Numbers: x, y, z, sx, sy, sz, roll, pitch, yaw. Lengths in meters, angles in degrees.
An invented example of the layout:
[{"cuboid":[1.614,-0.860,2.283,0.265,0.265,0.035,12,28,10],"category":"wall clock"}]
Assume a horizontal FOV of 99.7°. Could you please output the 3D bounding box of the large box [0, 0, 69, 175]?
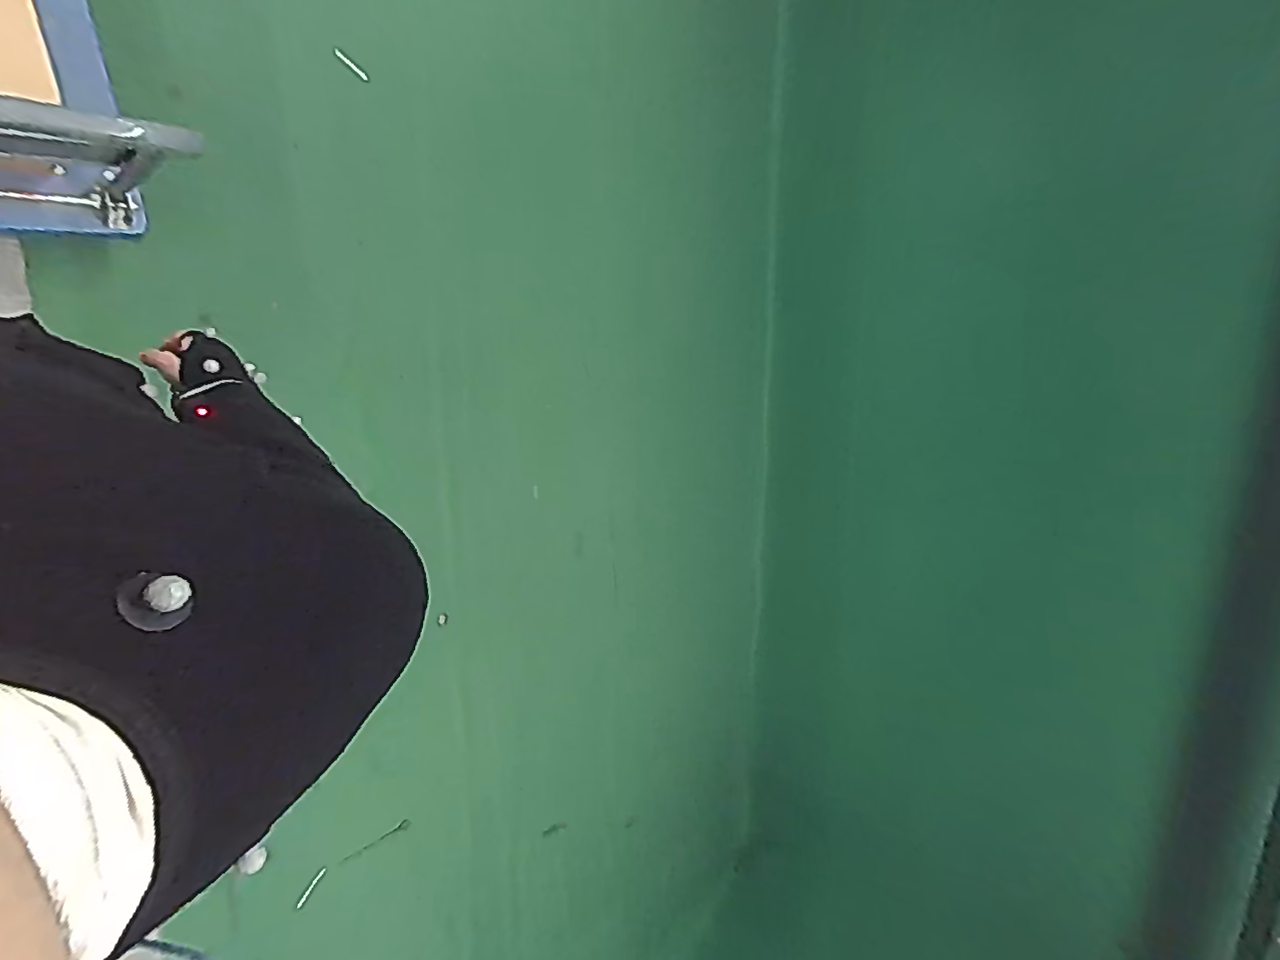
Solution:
[{"cuboid":[-1.058,-0.683,0.725,0.320,0.320,0.408,-21,111,-46],"category":"large box"}]
